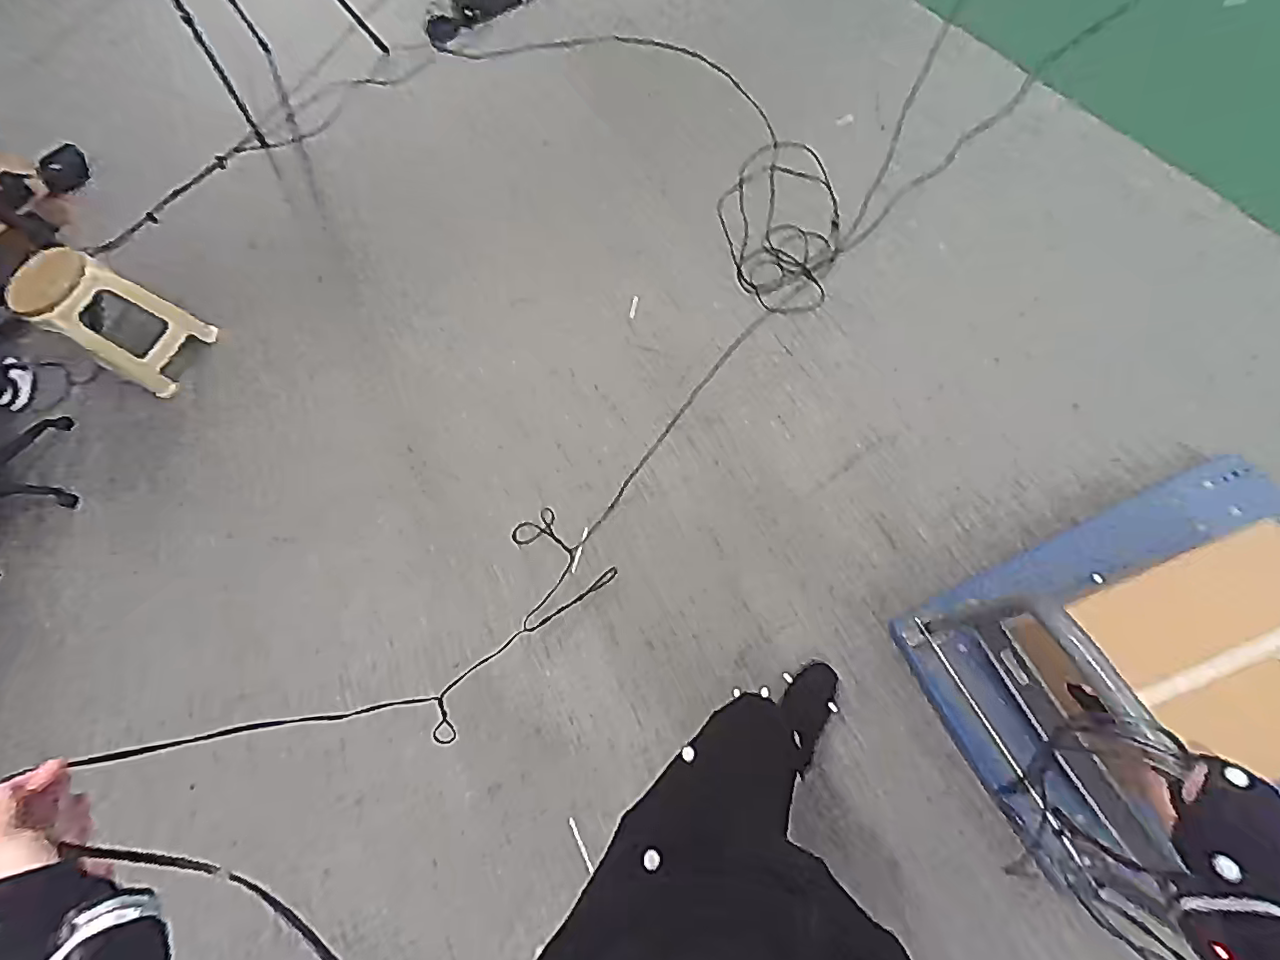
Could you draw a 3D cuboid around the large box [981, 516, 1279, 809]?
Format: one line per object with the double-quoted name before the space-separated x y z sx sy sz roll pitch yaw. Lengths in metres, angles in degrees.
"large box" 0.939 0.323 0.973 0.408 0.320 0.320 -25 67 1
